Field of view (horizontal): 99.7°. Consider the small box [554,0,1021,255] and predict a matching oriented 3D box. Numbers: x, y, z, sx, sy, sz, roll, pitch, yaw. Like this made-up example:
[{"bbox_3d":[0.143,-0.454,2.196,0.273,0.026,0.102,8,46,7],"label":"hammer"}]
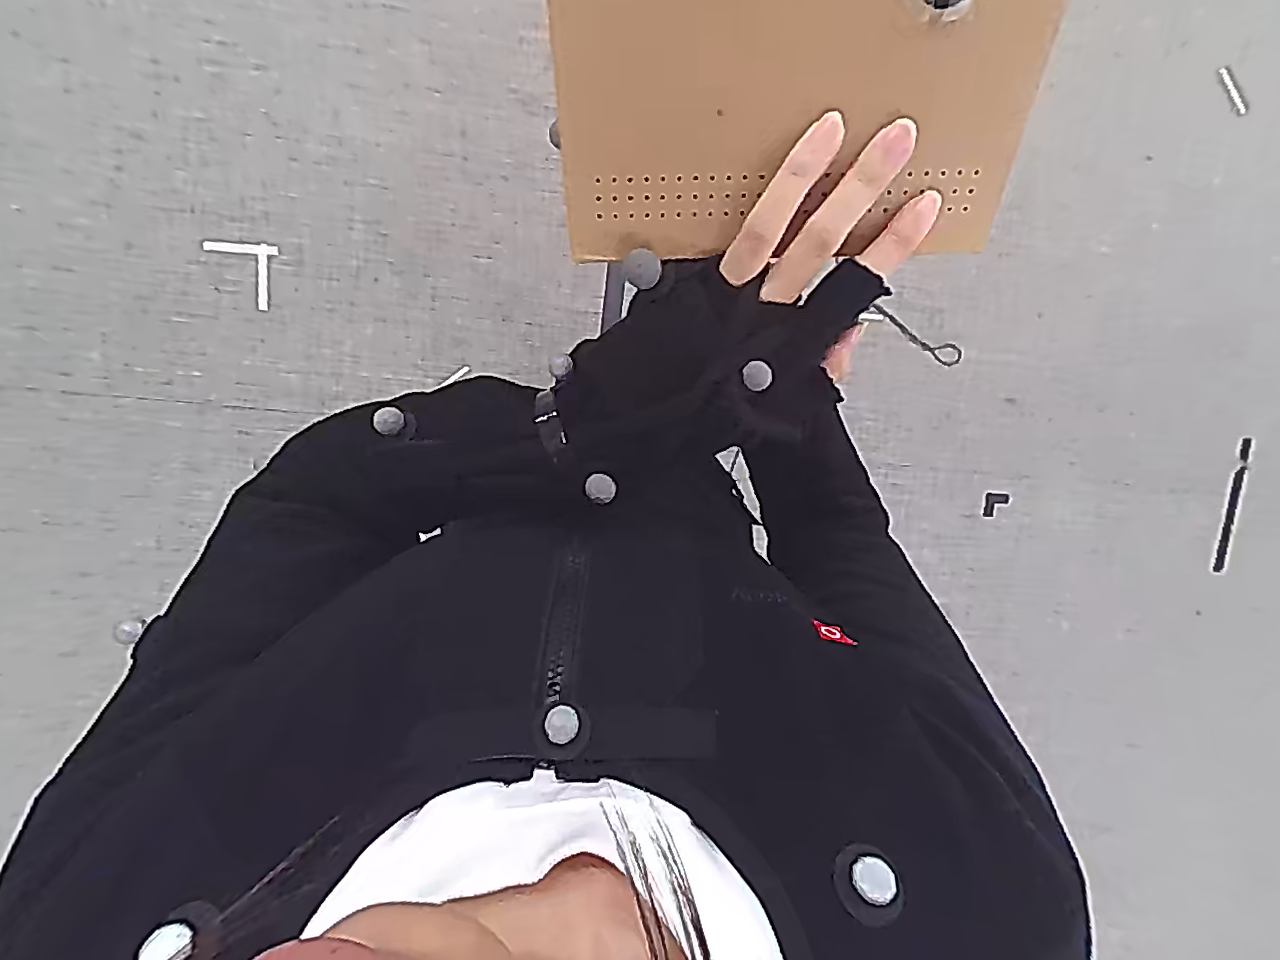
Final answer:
[{"bbox_3d":[0.057,-0.216,0.261,0.179,0.168,0.176,-1,126,2],"label":"small box"}]
